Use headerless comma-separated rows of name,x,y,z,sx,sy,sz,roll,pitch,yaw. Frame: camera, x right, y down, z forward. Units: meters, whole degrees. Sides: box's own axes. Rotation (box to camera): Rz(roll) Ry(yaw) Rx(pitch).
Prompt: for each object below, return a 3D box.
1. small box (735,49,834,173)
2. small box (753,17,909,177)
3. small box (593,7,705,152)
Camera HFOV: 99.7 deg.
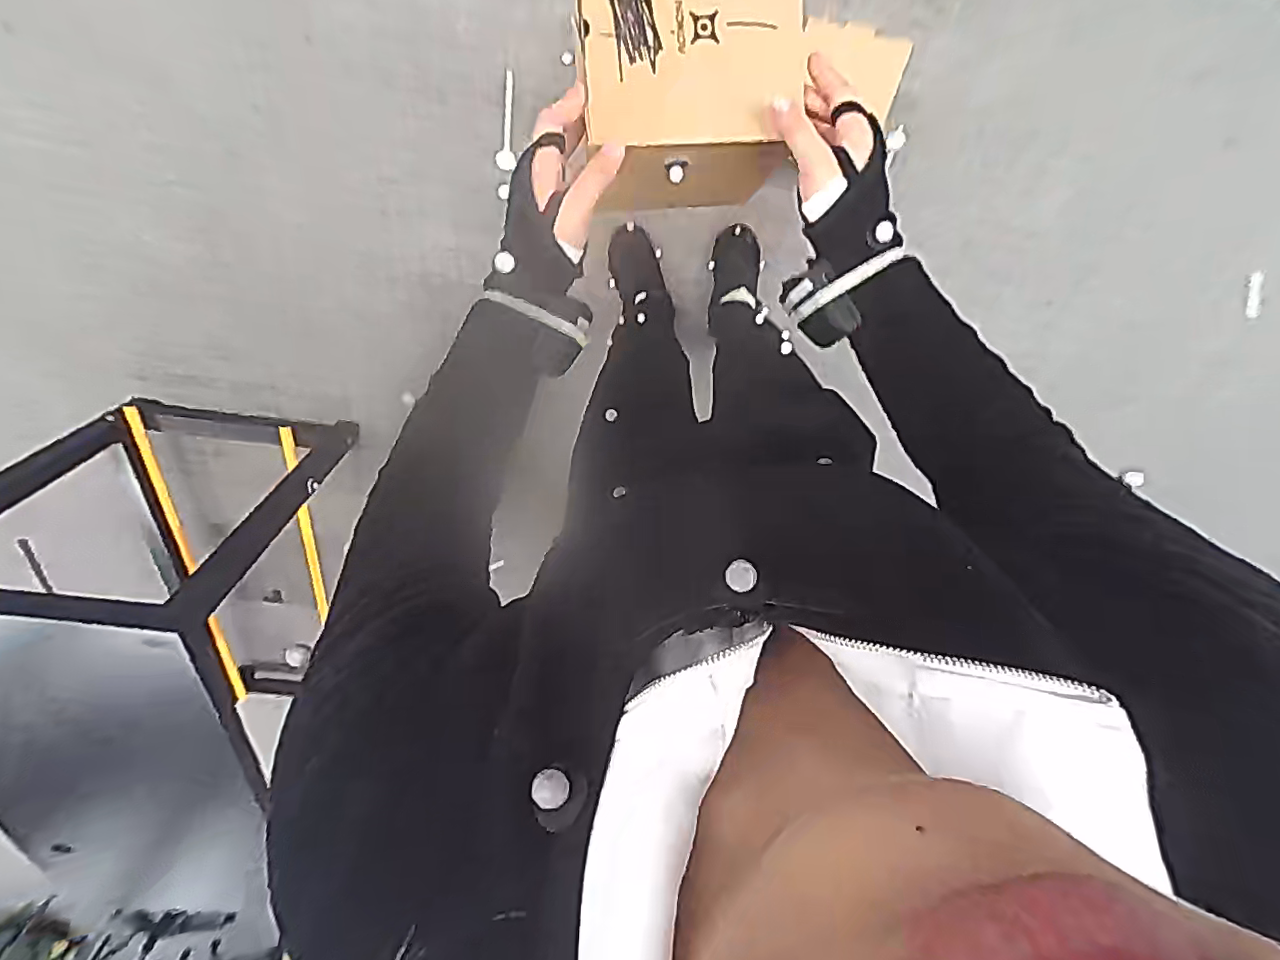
small box,0.297,-0.702,1.031,0.179,0.176,0.168,7,123,-6
small box,0.297,-0.621,0.890,0.168,0.176,0.179,9,124,-6
small box,0.013,-0.733,1.004,0.168,0.176,0.179,10,124,-7
